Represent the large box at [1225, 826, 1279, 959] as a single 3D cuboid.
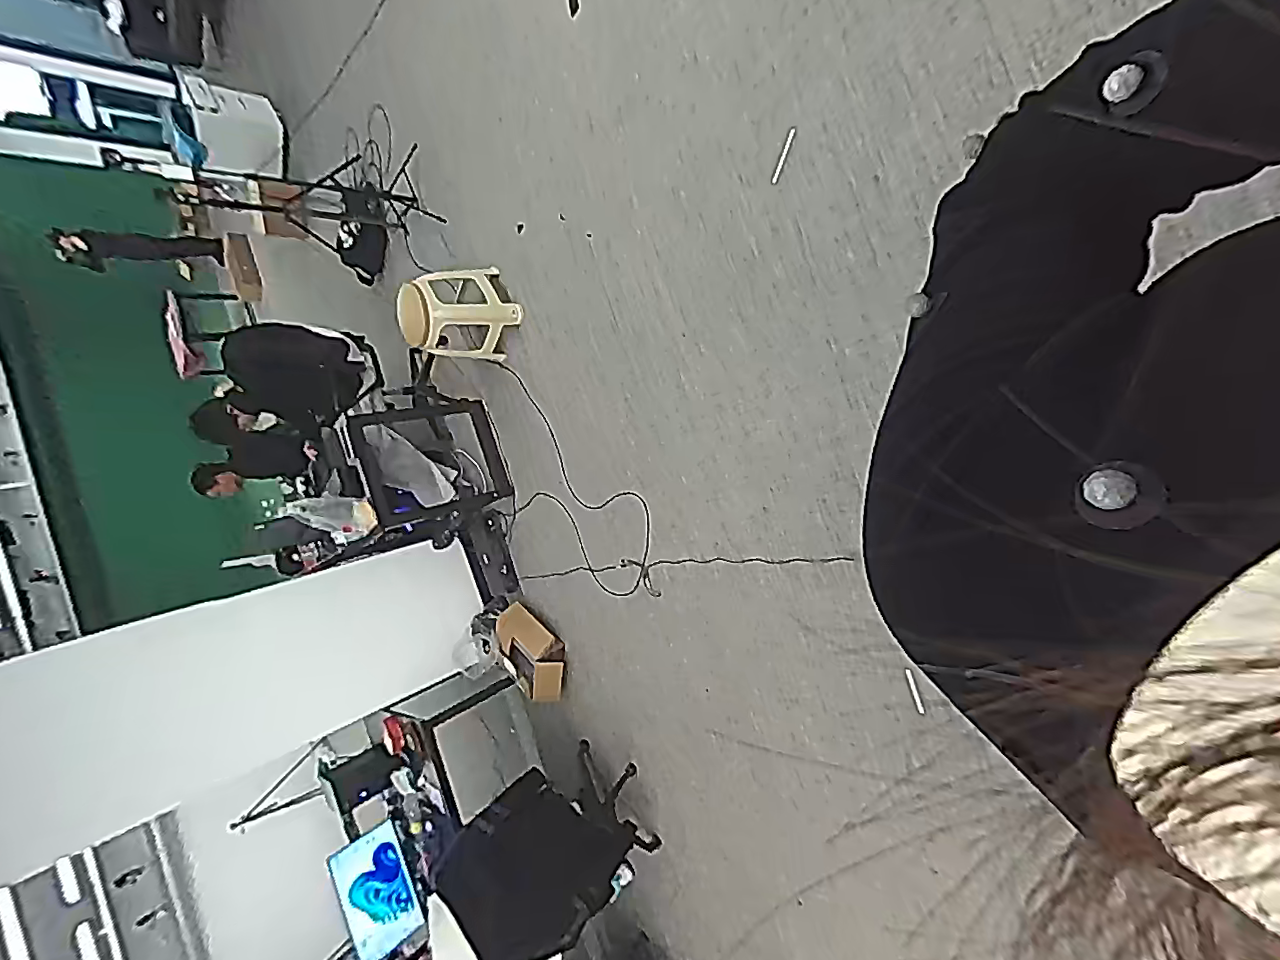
[{"bbox_3d":[1.188,0.739,0.767,0.408,0.320,0.320,-38,74,46],"label":"large box"}]
